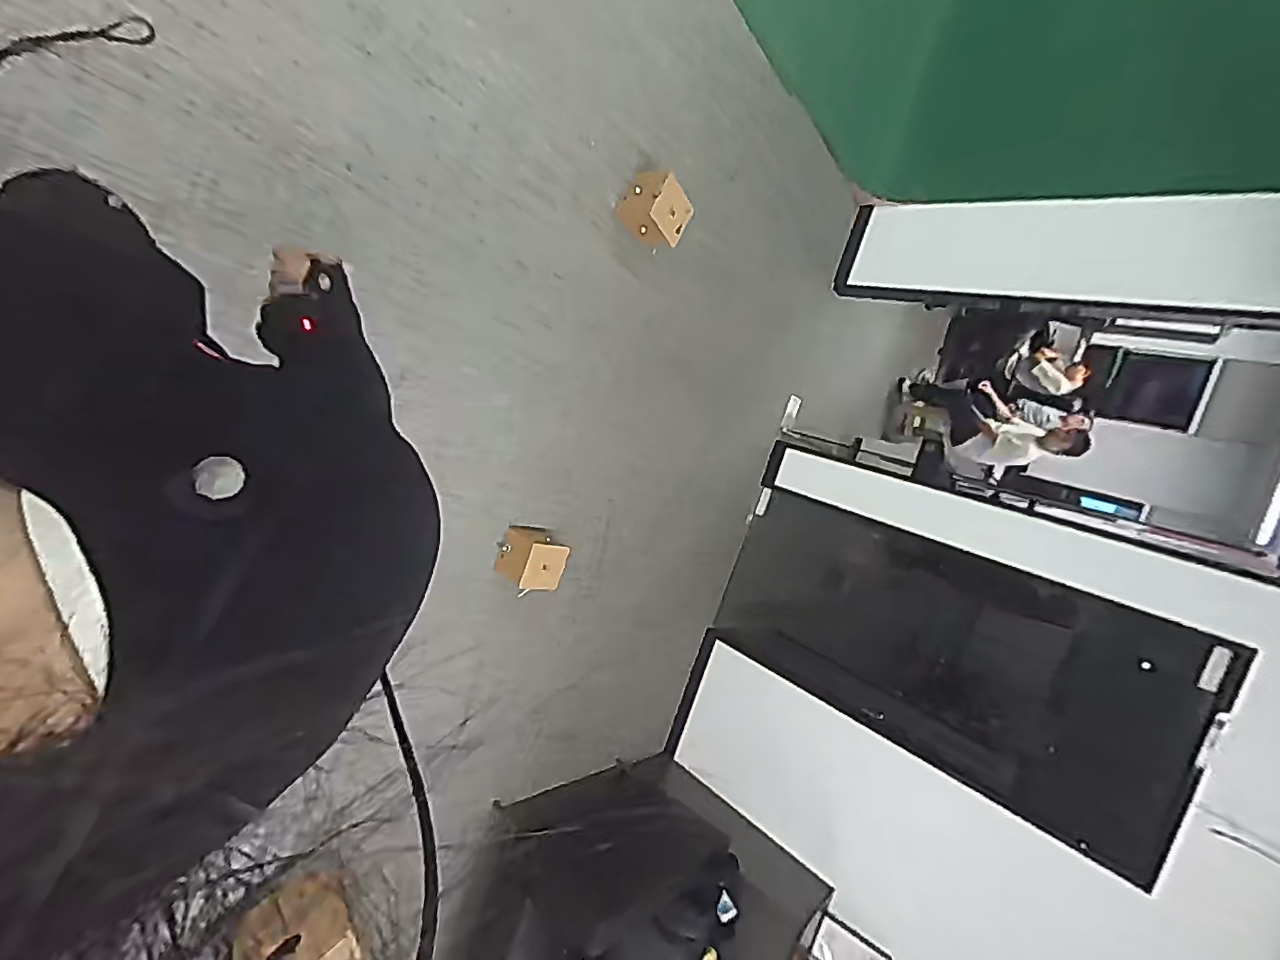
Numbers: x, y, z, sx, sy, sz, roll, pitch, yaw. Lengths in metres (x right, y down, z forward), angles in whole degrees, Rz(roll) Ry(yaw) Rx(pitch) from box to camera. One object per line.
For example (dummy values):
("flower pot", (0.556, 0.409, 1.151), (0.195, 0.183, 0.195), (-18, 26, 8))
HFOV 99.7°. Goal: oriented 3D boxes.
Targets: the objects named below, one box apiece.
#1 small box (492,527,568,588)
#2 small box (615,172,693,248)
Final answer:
("small box", (-0.398, 0.279, 1.949), (0.179, 0.176, 0.168), (16, 95, -50))
("small box", (0.044, -0.923, 1.865), (0.179, 0.176, 0.168), (34, 81, -50))
